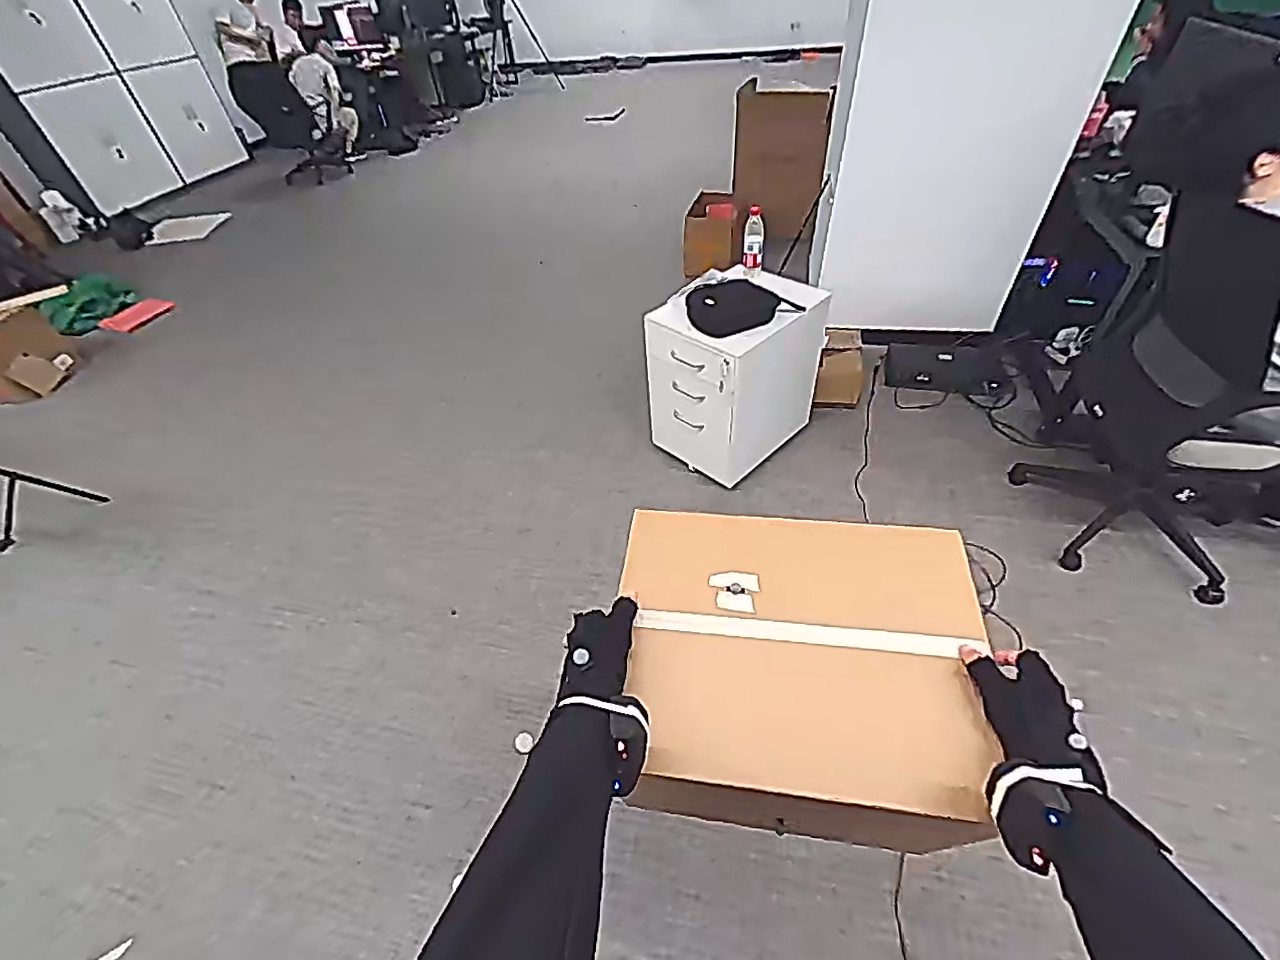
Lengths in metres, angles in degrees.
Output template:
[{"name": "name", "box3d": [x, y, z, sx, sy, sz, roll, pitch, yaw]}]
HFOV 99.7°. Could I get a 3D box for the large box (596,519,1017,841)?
[{"name": "large box", "box3d": [0.187, 0.270, 0.727, 0.408, 0.320, 0.320, 3, 52, 10]}]
